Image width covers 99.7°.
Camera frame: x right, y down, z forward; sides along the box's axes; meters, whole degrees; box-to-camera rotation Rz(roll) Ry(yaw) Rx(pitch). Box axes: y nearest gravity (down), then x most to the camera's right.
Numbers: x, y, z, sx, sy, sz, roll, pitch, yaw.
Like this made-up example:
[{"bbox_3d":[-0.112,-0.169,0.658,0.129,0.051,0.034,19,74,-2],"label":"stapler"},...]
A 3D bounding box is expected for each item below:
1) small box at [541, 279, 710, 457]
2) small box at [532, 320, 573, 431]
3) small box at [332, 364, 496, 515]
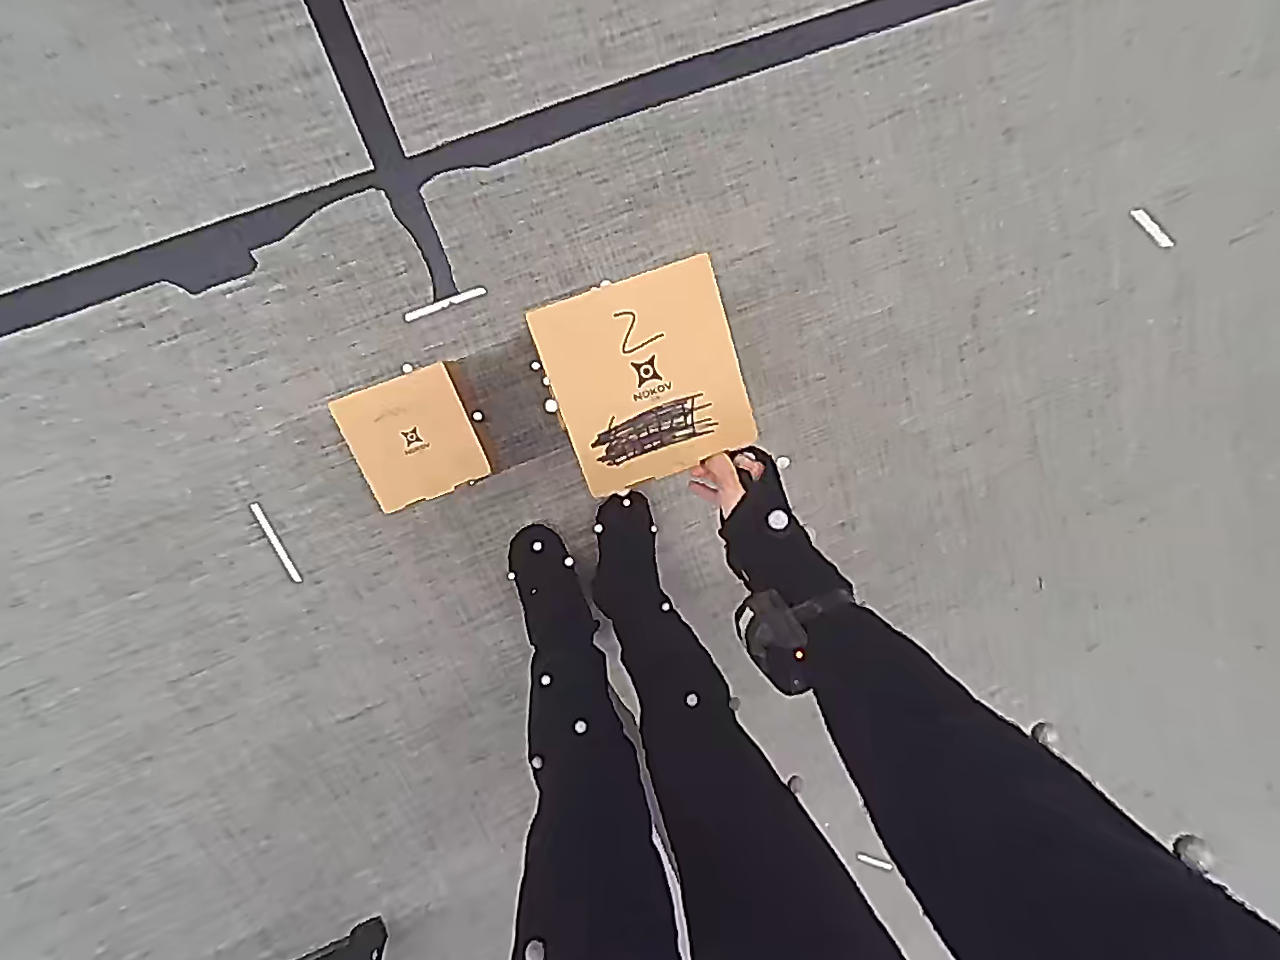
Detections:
[{"bbox_3d":[-0.026,-0.148,0.713,0.168,0.176,0.179,-18,105,-8],"label":"small box"},{"bbox_3d":[-0.066,-0.190,0.868,0.179,0.176,0.168,-17,106,-9],"label":"small box"},{"bbox_3d":[-0.331,-0.073,0.837,0.168,0.176,0.179,-23,106,-8],"label":"small box"}]
